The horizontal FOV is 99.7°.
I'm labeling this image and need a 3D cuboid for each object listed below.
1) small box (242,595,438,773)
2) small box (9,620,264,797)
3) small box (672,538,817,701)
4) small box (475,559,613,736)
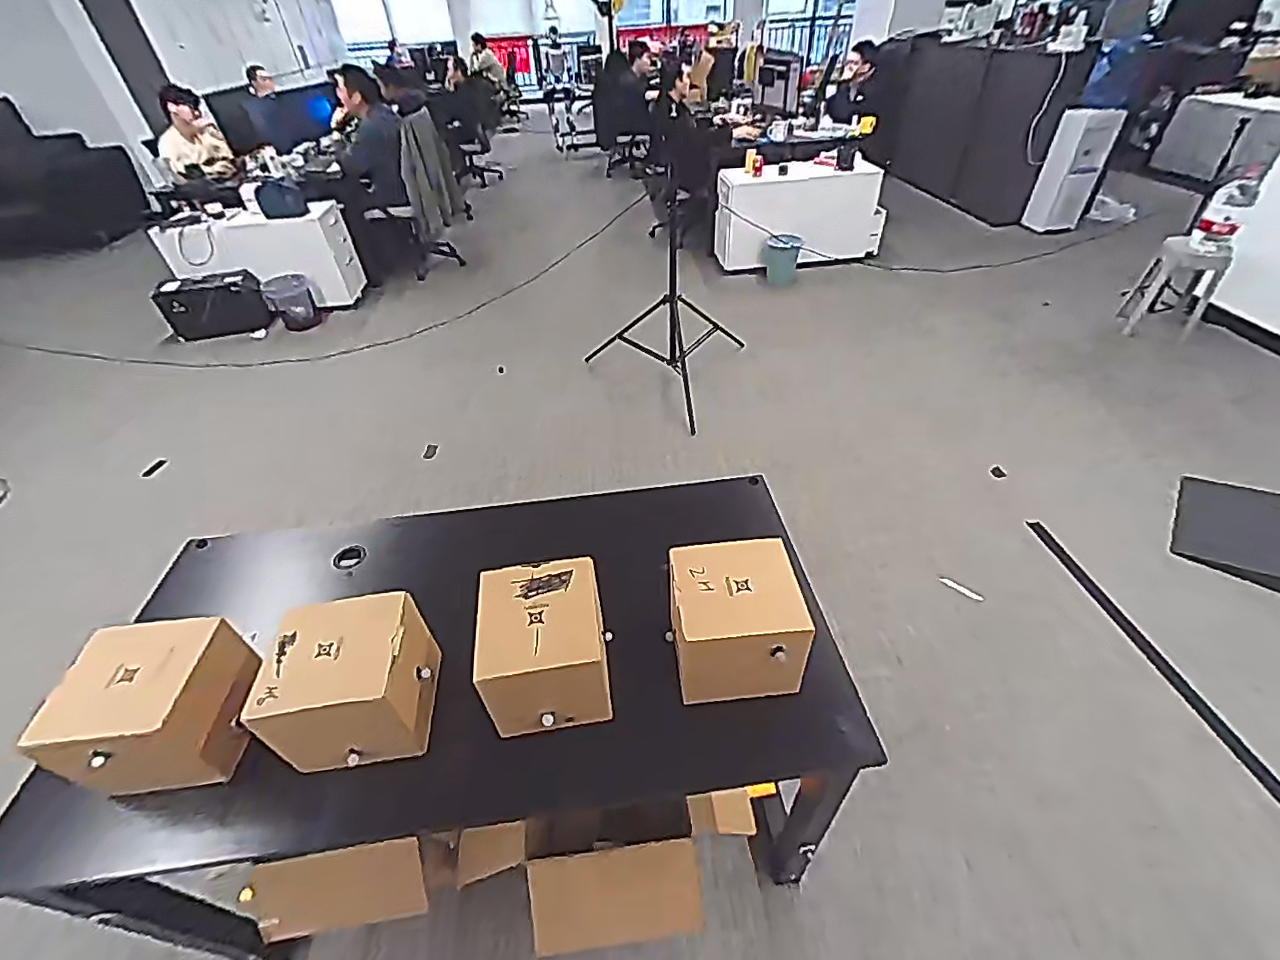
[{"bbox_3d":[-0.401,0.288,0.766,0.179,0.176,0.168,-7,41,-5],"label":"small box"},{"bbox_3d":[-0.663,0.318,0.750,0.179,0.176,0.168,-5,42,-3],"label":"small box"},{"bbox_3d":[0.143,0.210,0.810,0.179,0.176,0.168,-6,40,-1],"label":"small box"},{"bbox_3d":[-0.134,0.244,0.794,0.168,0.176,0.179,-8,42,-5],"label":"small box"}]
